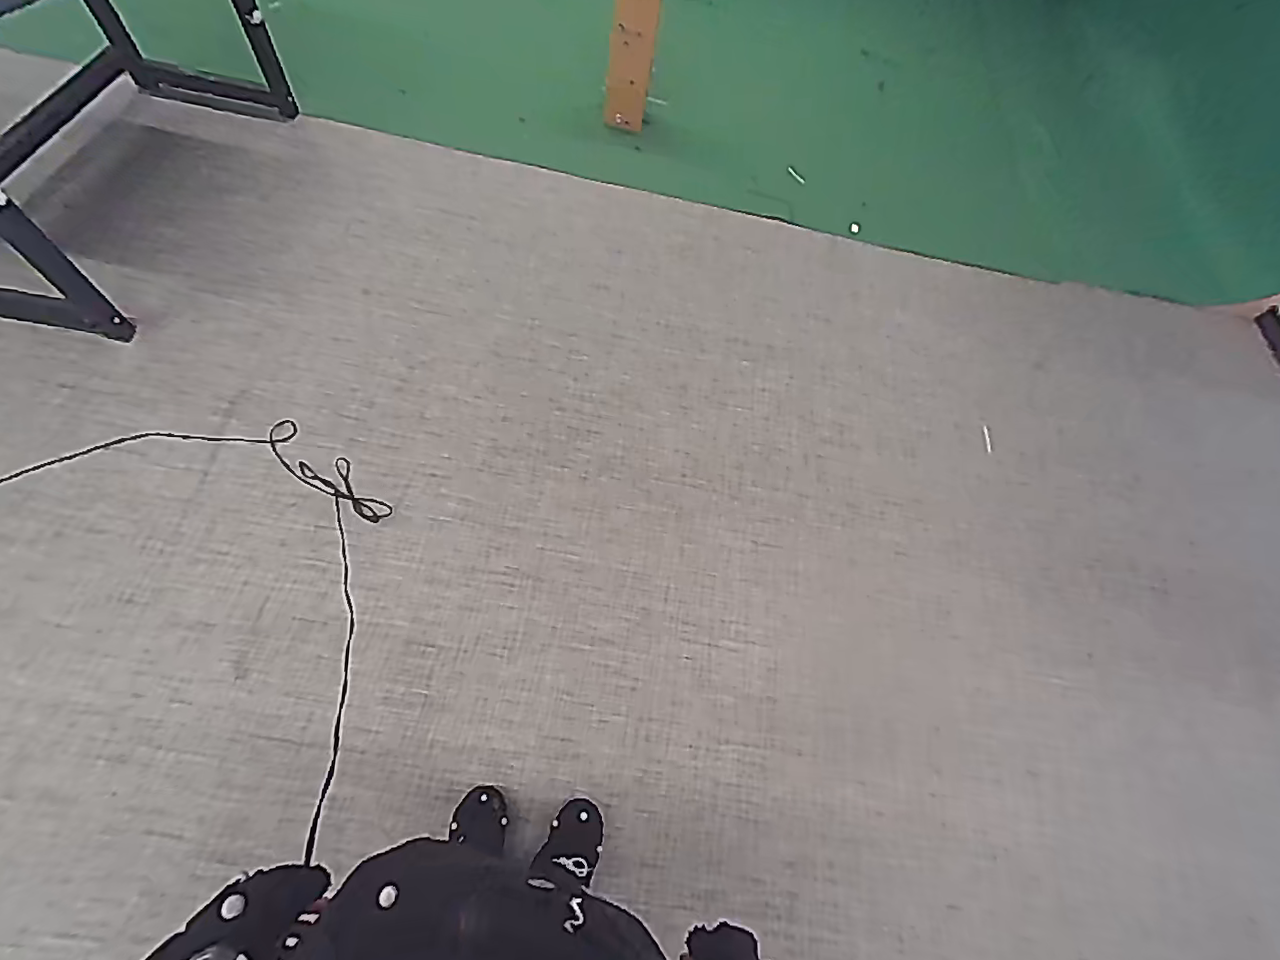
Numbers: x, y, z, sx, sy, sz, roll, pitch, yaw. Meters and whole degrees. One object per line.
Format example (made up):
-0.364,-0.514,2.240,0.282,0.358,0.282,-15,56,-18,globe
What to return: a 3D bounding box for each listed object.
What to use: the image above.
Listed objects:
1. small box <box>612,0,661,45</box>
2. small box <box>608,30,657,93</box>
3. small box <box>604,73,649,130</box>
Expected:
-0.011,-1.773,2.019,0.168,0.176,0.179,10,61,-4,small box
-0.034,-1.696,2.163,0.168,0.176,0.179,11,61,-3,small box
-0.059,-1.629,2.290,0.168,0.176,0.179,11,62,-1,small box
